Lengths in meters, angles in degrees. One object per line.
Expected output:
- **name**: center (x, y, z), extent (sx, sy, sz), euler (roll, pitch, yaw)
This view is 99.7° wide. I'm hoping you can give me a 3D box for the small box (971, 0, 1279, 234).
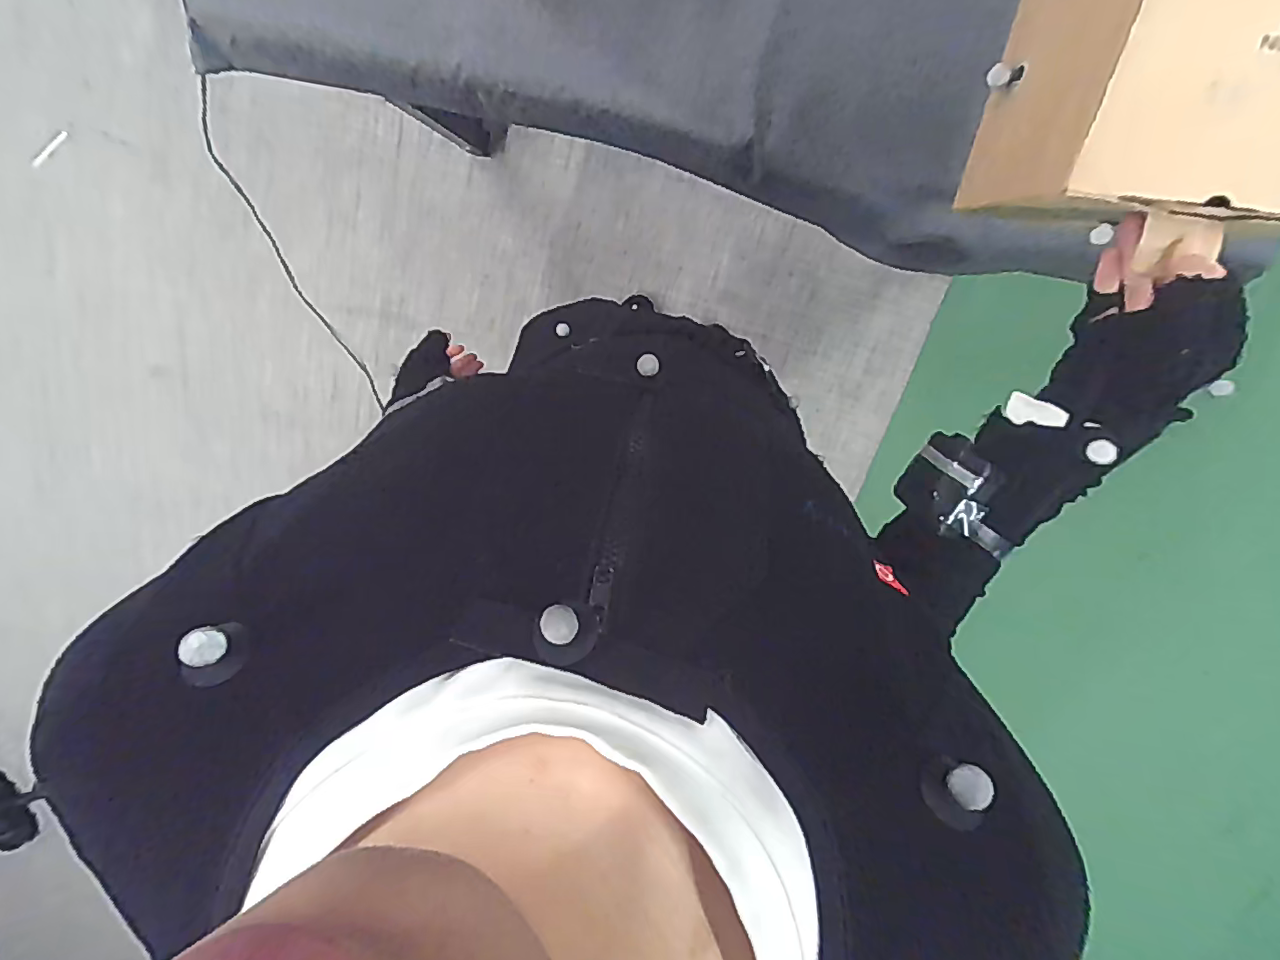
- **small box**: center (0.345, -0.259, 0.342), extent (0.168, 0.176, 0.179), euler (10, 114, 4)
